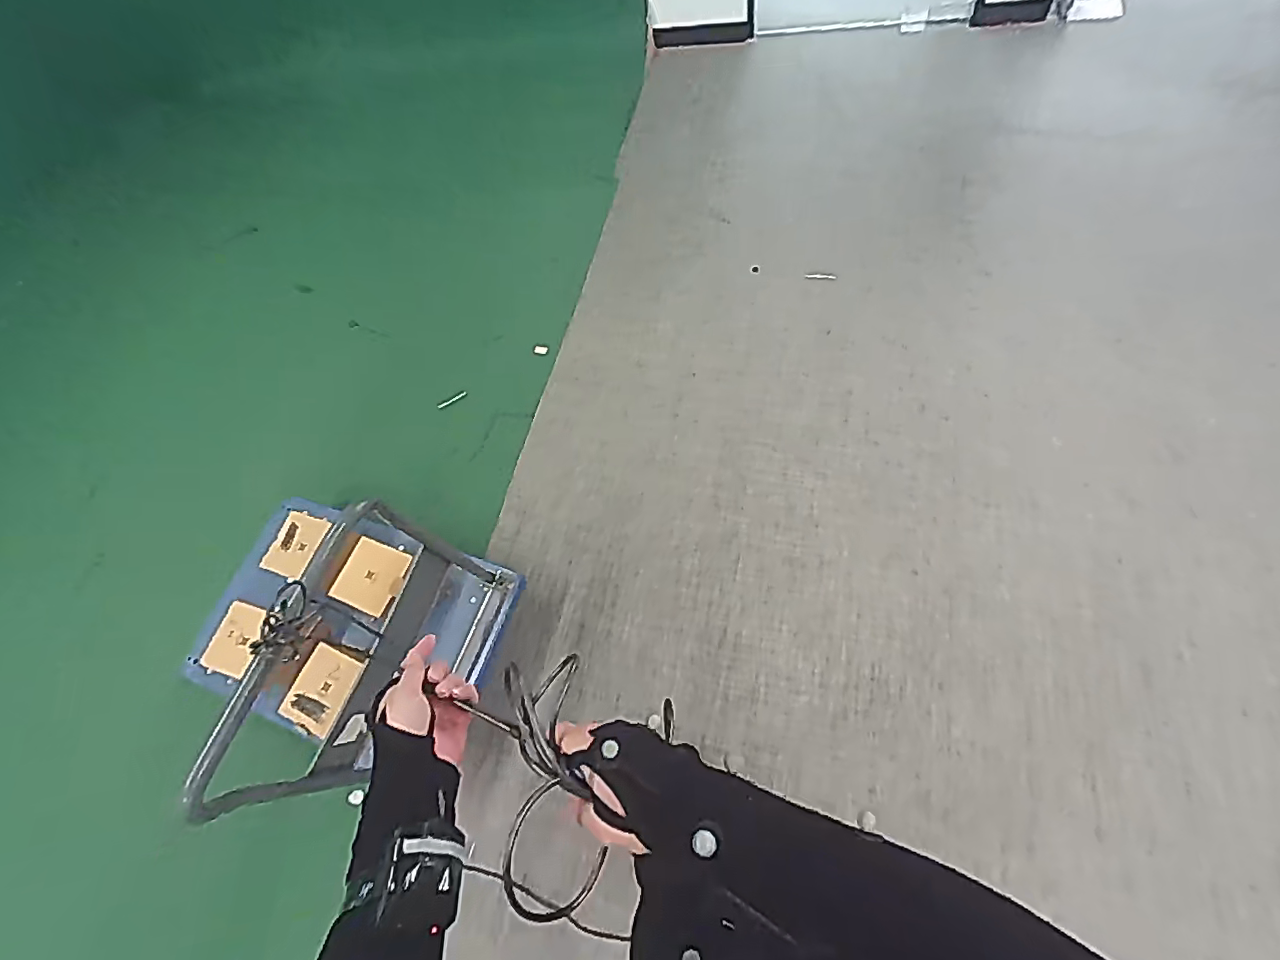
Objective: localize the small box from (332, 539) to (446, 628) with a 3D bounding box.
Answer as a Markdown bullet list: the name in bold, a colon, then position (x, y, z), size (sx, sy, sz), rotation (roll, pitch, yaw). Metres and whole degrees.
- **small box**: position (-0.656, 0.278, 1.431), size (0.179, 0.176, 0.168), rotation (17, 71, 17)

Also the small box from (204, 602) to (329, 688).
- **small box**: position (-0.967, 0.438, 1.419), size (0.179, 0.176, 0.168), rotation (12, 68, 16)

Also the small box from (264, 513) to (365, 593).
- **small box**: position (-0.878, 0.213, 1.503), size (0.179, 0.176, 0.168), rotation (14, 70, 16)
